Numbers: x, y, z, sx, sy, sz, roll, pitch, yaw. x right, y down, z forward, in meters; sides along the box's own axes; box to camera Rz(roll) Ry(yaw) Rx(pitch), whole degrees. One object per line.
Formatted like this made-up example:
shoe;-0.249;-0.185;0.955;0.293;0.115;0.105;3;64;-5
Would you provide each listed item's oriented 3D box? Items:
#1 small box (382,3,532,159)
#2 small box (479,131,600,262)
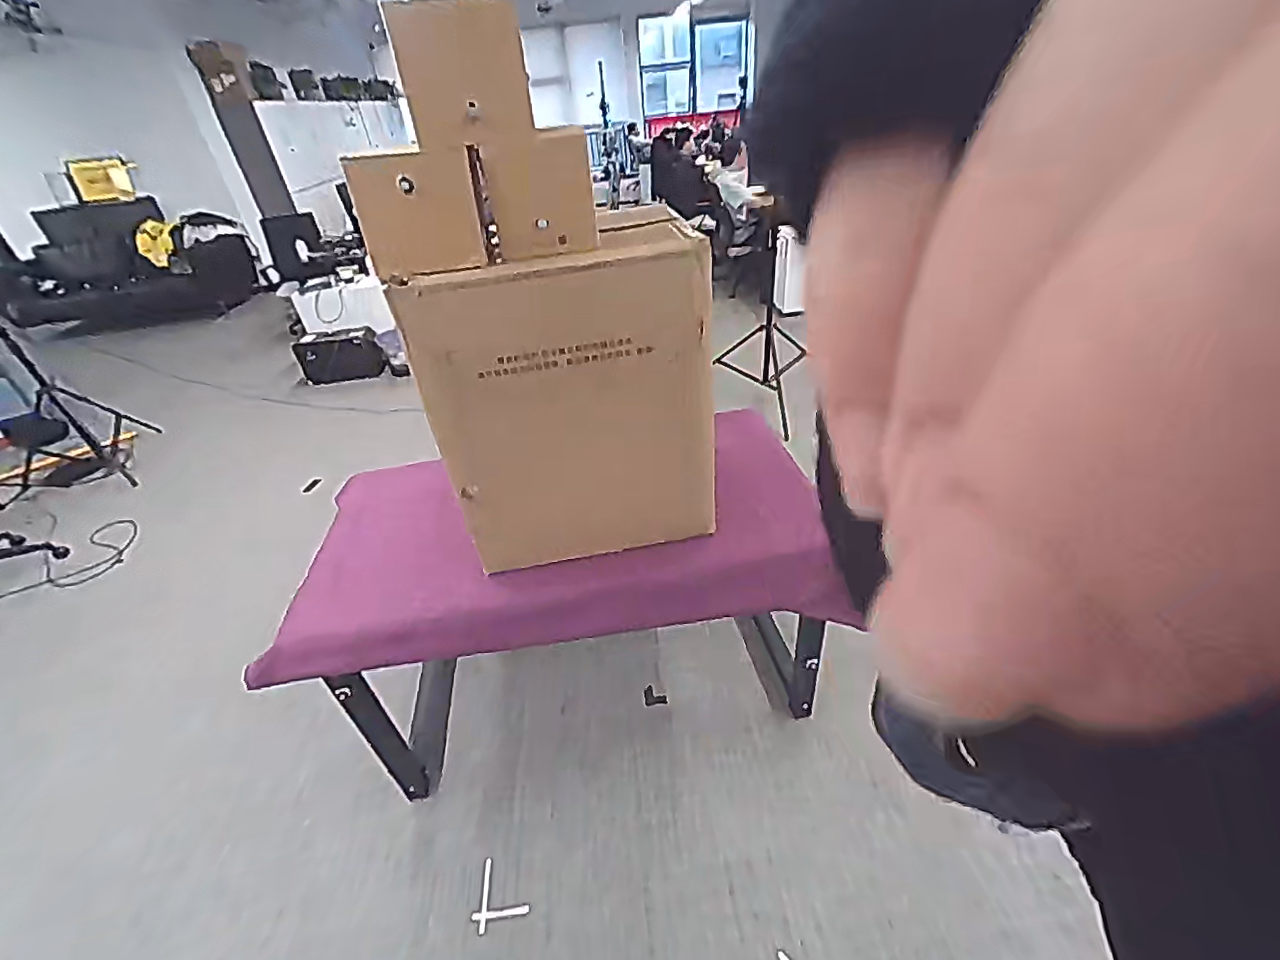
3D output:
small box;-0.267;-0.598;0.817;0.179;0.176;0.168;-14;37;-12
small box;-0.162;-0.484;0.924;0.168;0.176;0.179;-9;37;-2
